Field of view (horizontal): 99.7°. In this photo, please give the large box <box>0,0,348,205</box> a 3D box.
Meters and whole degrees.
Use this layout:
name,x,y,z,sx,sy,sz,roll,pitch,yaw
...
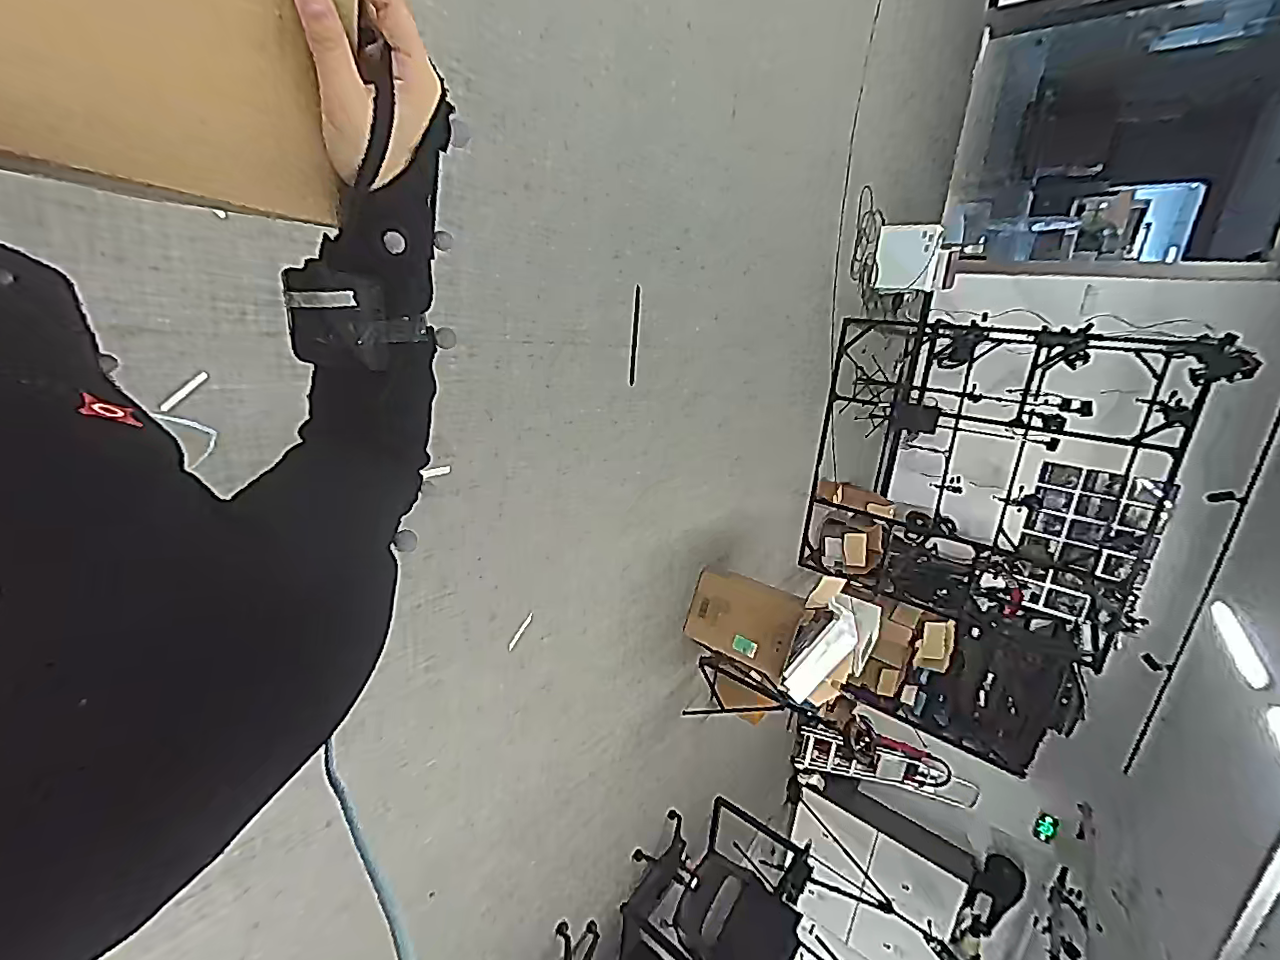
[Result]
name,x,y,z,sx,sy,sz,roll,pitch,yaw
large box,-0.389,-0.323,0.201,0.408,0.320,0.320,-16,123,-55
